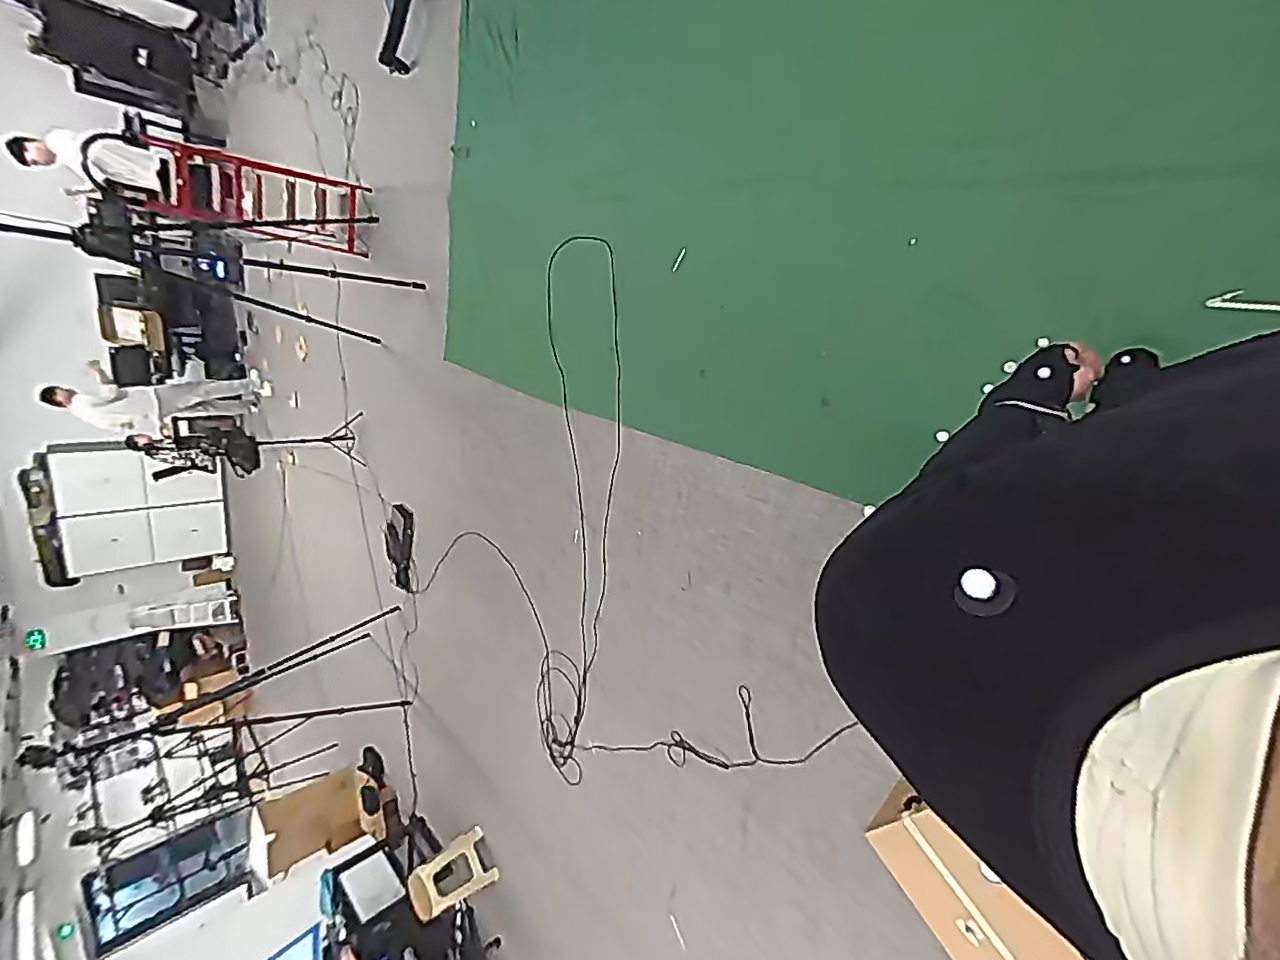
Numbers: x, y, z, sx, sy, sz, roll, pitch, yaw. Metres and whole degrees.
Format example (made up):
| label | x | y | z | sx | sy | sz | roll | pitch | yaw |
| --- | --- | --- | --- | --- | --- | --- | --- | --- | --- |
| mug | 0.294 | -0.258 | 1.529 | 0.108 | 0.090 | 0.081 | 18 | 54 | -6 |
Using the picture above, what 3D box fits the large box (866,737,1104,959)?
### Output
| label | x | y | z | sx | sy | sz | roll | pitch | yaw |
| --- | --- | --- | --- | --- | --- | --- | --- | --- | --- |
| large box | 0.894 | 0.977 | 1.415 | 0.408 | 0.320 | 0.320 | 54 | 128 | 23 |
